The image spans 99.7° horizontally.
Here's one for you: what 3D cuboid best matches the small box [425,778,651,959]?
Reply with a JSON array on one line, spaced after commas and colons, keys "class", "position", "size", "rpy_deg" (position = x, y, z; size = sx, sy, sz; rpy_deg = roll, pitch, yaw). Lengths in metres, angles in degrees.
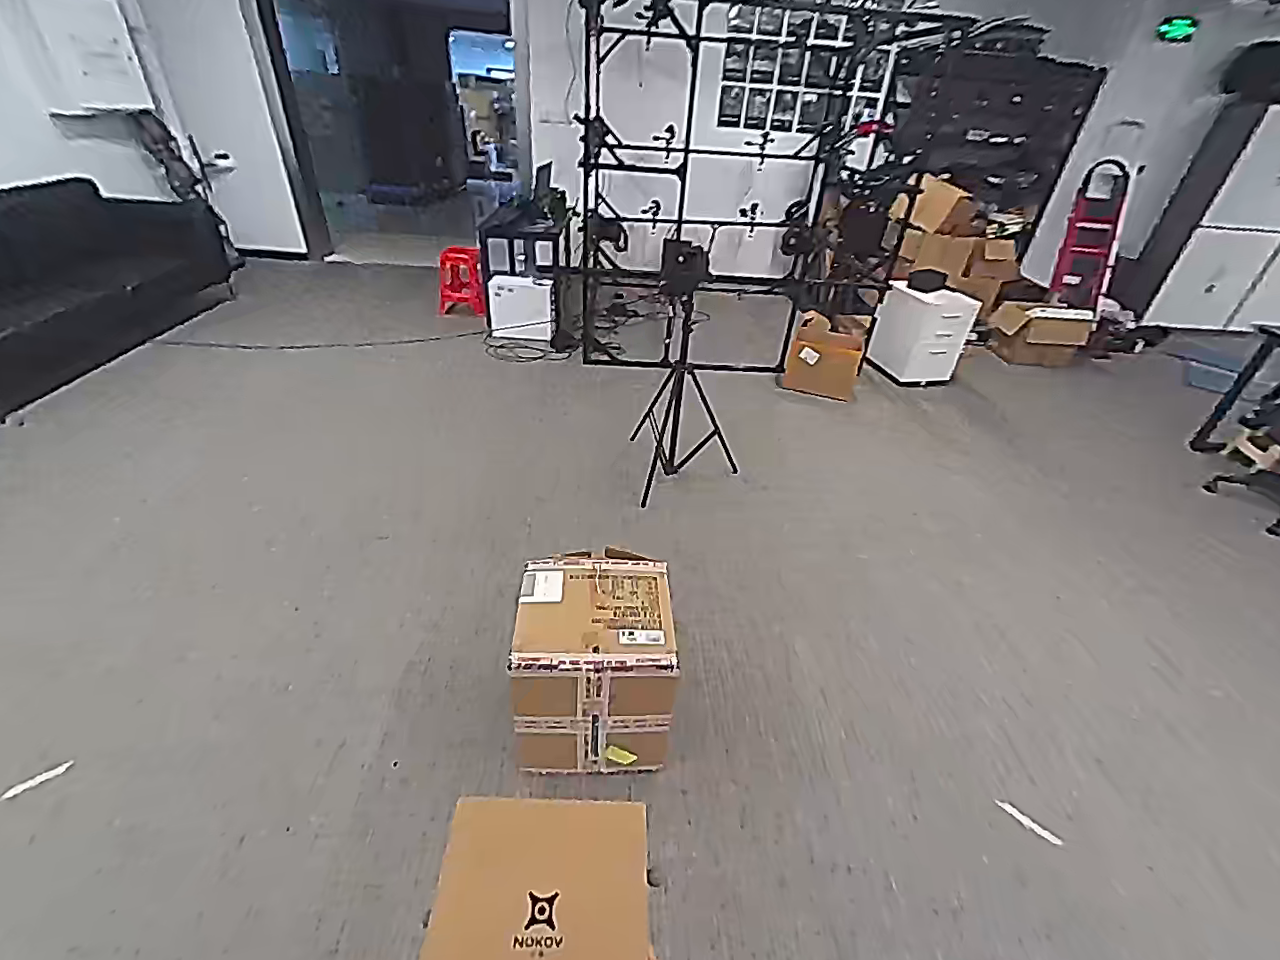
[{"class": "small box", "position": [-0.080, 0.390, 0.471], "size": [0.168, 0.176, 0.179], "rpy_deg": [3, 39, -3]}]
